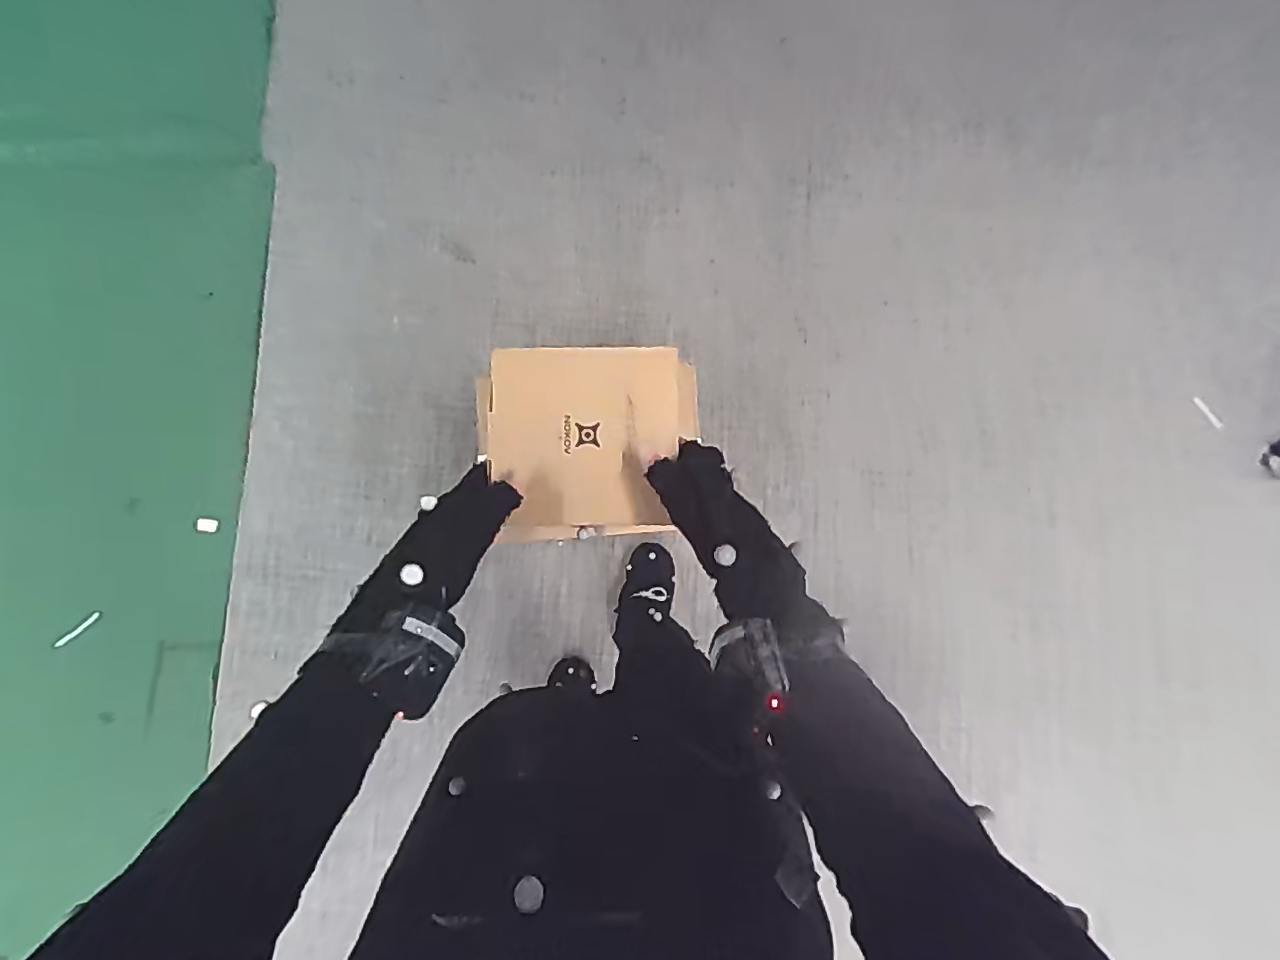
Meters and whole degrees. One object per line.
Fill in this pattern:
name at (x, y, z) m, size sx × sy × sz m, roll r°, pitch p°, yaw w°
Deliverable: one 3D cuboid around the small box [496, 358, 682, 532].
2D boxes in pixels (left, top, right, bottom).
small box at (-0.049, -0.027, 0.588) m, size 0.179 × 0.176 × 0.168 m, roll -1°, pitch 86°, yaw -1°
